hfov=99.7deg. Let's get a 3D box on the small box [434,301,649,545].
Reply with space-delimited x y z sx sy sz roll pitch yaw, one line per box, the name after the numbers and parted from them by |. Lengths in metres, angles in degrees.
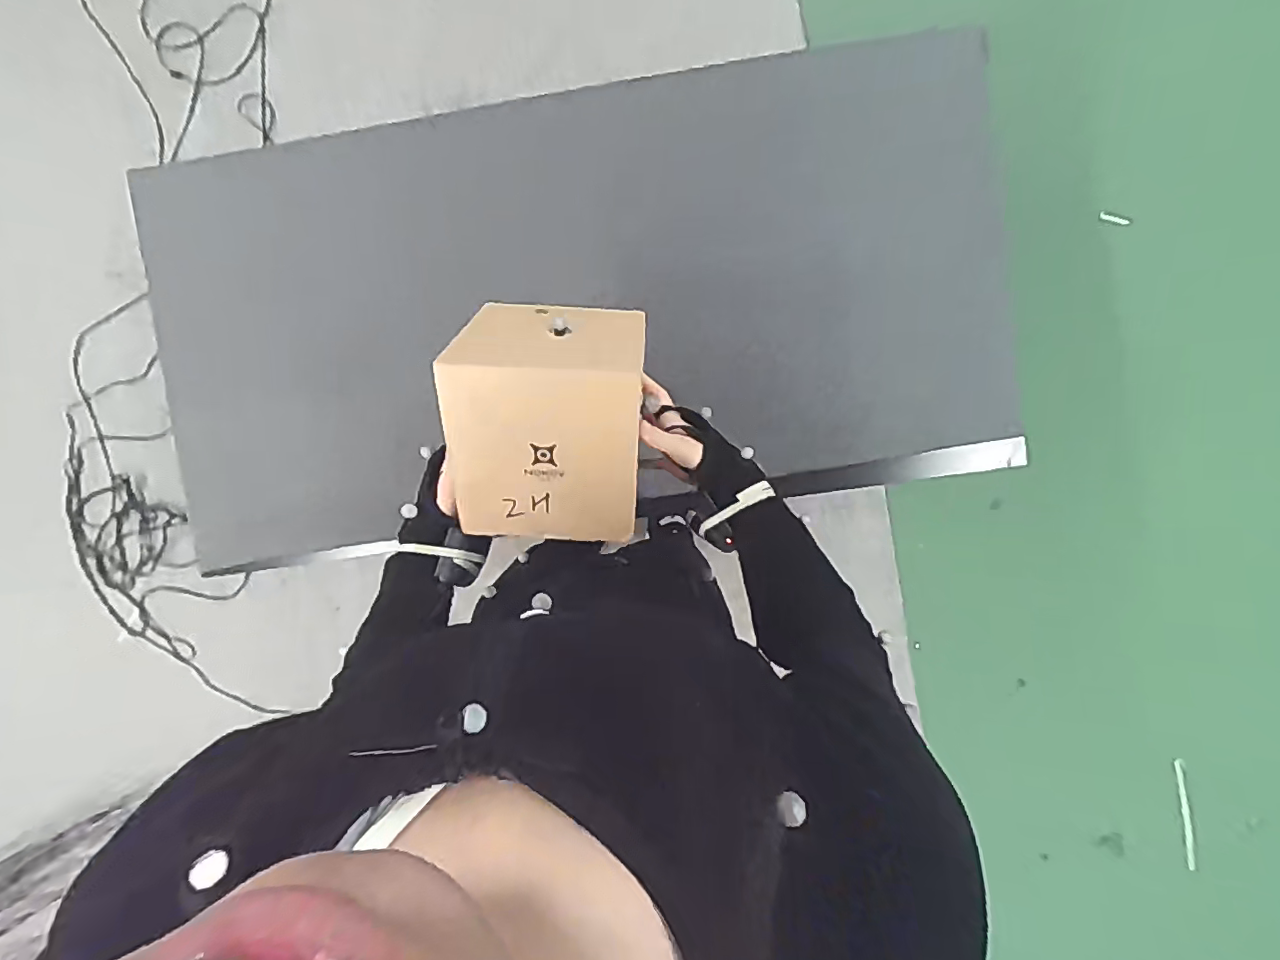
-0.080 -0.062 0.519 0.168 0.176 0.179 4 124 -1 | small box
